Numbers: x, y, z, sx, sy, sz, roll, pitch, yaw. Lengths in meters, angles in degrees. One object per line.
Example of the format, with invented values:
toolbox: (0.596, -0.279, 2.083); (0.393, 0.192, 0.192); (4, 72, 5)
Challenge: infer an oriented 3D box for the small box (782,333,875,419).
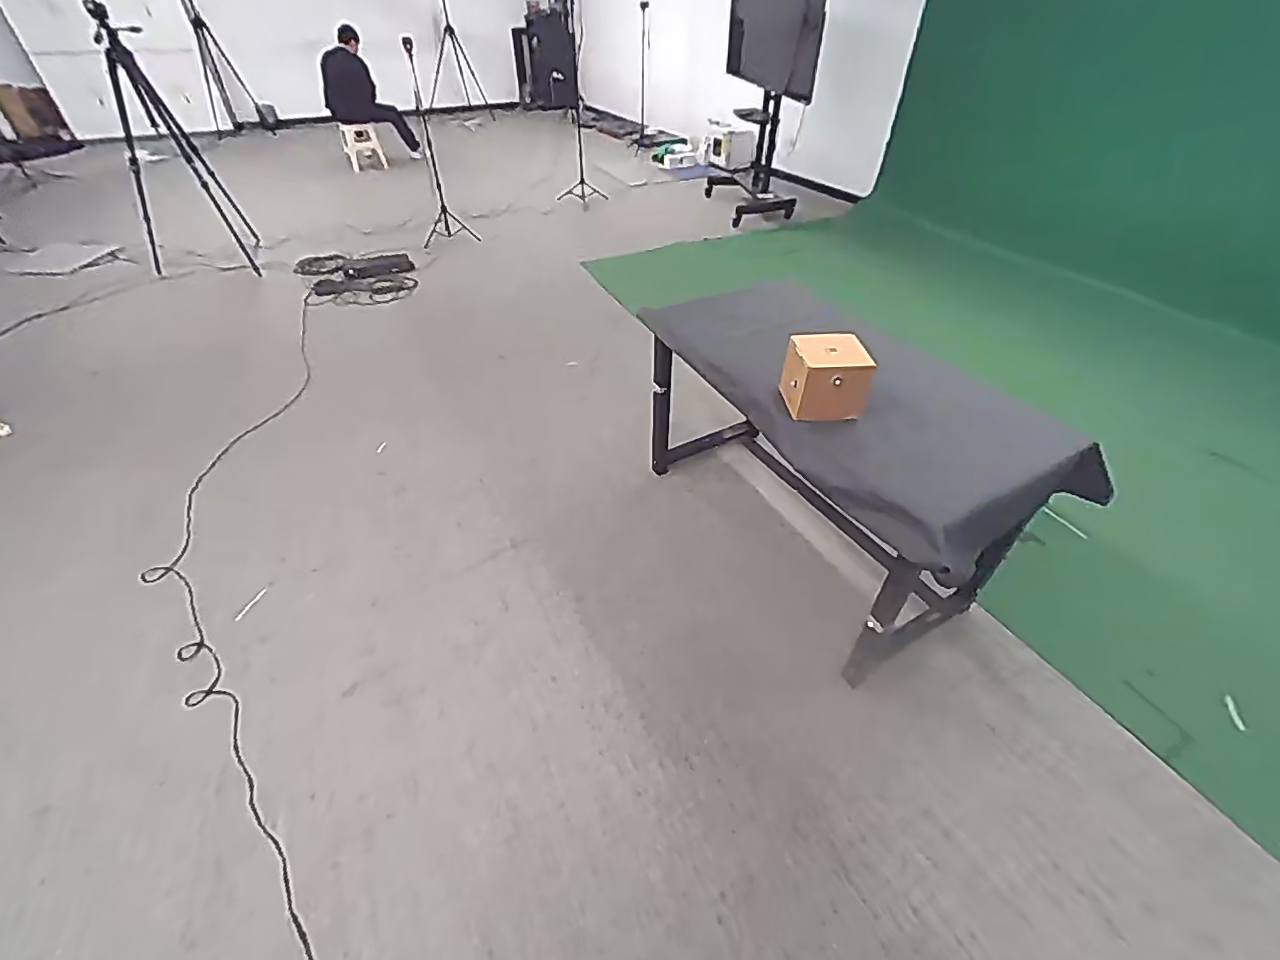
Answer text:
small box: (0.489, -0.275, 1.439); (0.179, 0.176, 0.168); (-1, 44, -4)
